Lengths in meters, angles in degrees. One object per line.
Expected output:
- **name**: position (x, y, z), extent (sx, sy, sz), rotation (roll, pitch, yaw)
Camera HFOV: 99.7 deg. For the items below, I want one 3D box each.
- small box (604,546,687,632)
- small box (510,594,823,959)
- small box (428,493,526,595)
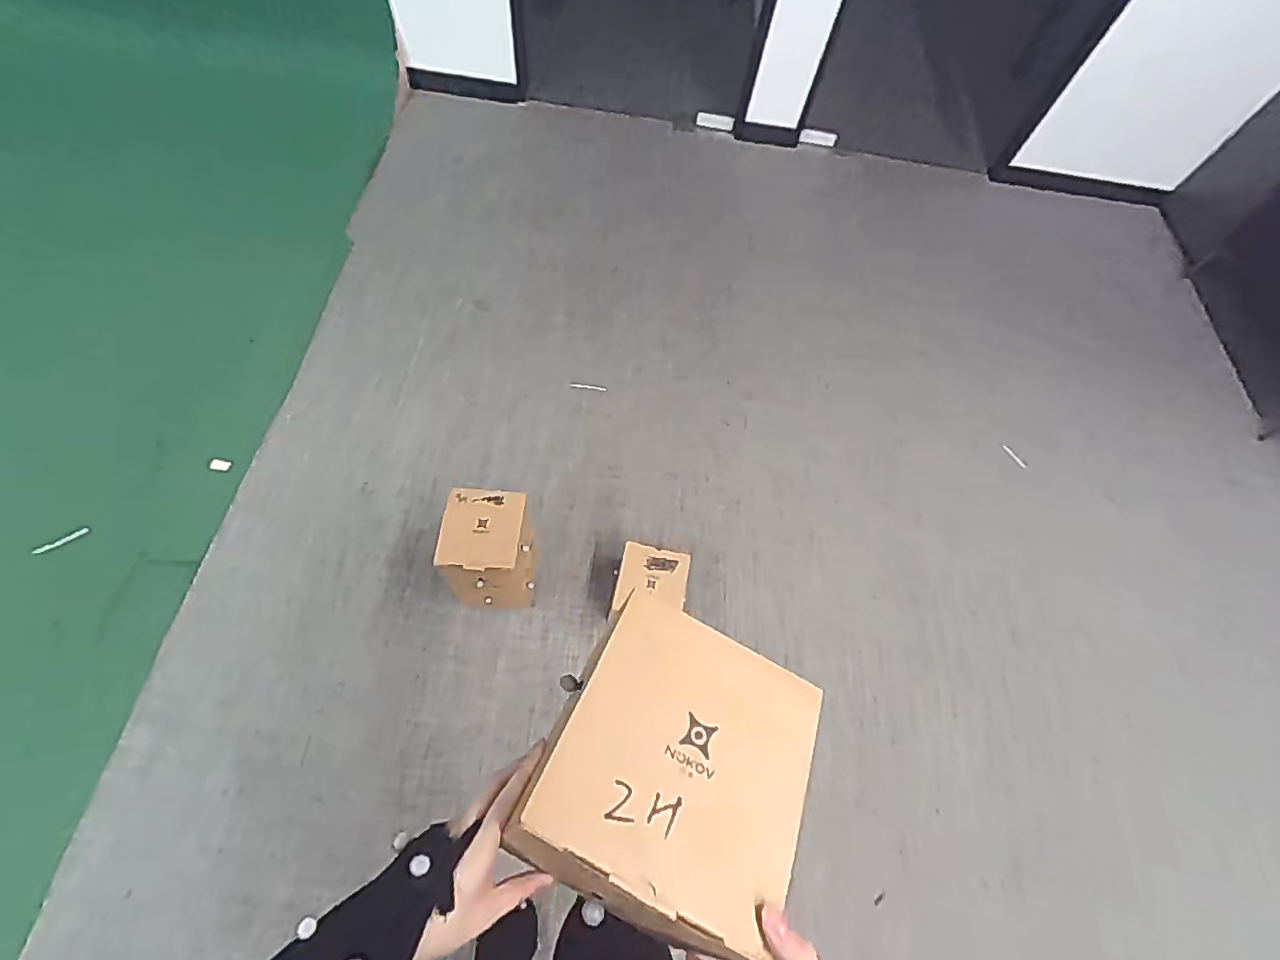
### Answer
- **small box**: position (0.009, 0.290, 1.358), extent (0.168, 0.176, 0.179), rotation (13, 63, -1)
- **small box**: position (0.014, 0.229, 0.422), extent (0.168, 0.176, 0.179), rotation (29, 49, 2)
- **small box**: position (-0.349, 0.148, 1.195), extent (0.168, 0.176, 0.179), rotation (6, 63, -5)
